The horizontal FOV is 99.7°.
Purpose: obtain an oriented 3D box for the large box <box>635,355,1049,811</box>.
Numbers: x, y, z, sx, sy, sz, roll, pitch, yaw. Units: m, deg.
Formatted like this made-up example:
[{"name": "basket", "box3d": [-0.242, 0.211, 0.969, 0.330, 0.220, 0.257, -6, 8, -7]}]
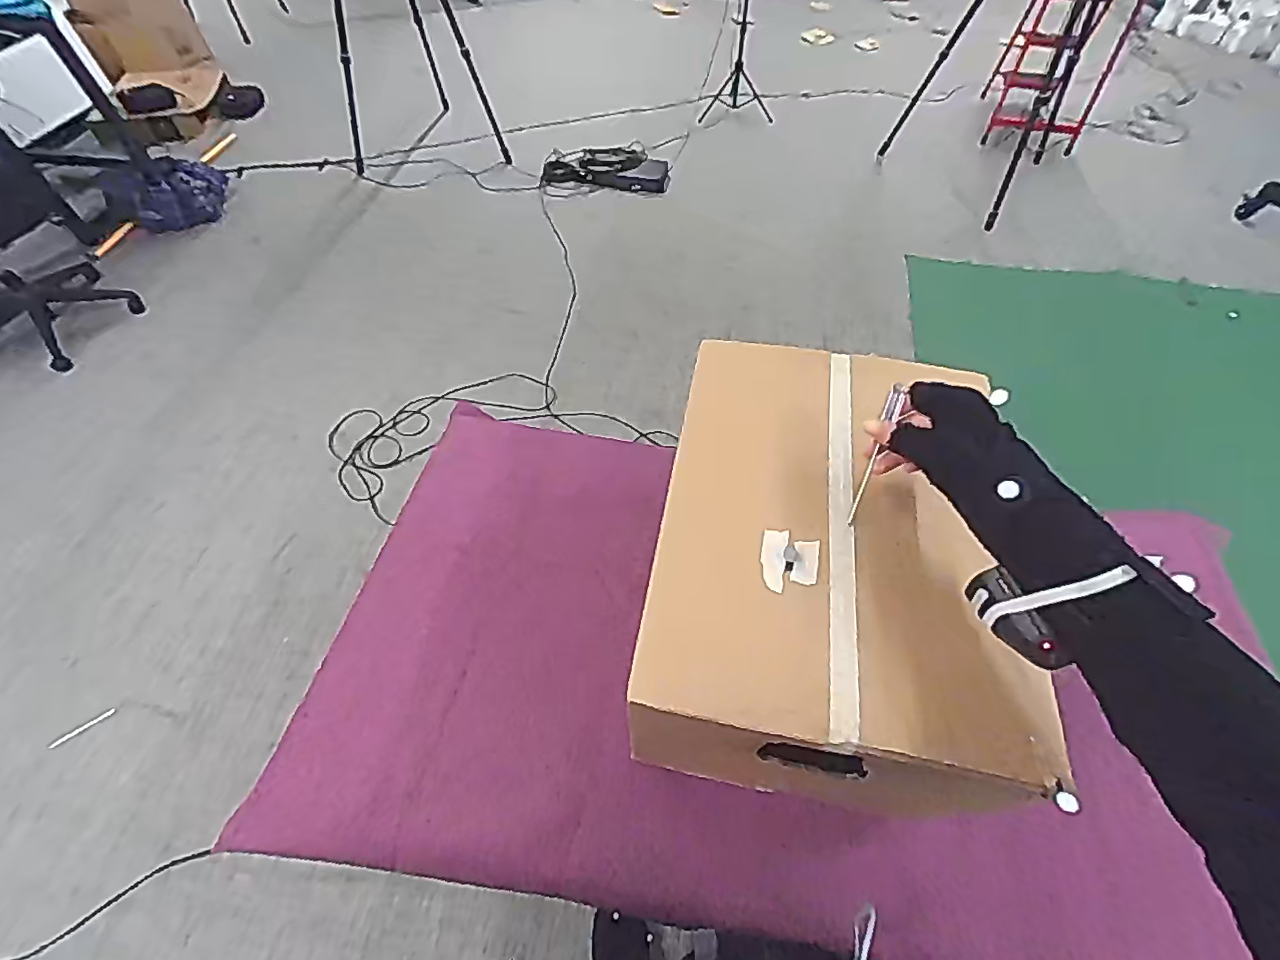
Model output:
[{"name": "large box", "box3d": [0.181, 0.120, 0.634, 0.320, 0.320, 0.408, 9, 57, 7]}]
